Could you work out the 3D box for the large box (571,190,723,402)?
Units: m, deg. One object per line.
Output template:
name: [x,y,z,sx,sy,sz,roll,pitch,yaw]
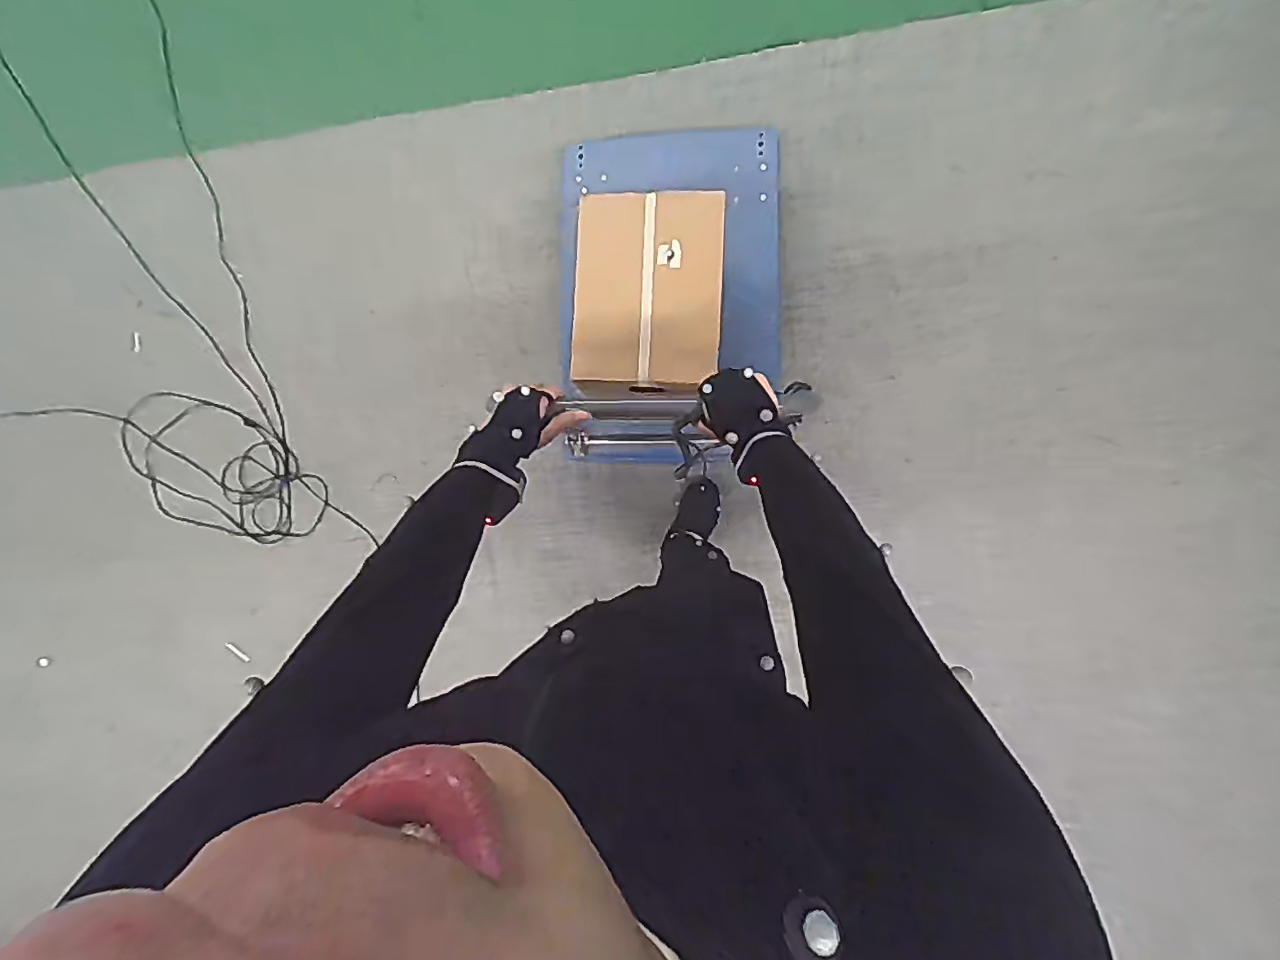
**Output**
large box: [0.032,-0.409,1.290,0.320,0.320,0.408,3,89,6]
